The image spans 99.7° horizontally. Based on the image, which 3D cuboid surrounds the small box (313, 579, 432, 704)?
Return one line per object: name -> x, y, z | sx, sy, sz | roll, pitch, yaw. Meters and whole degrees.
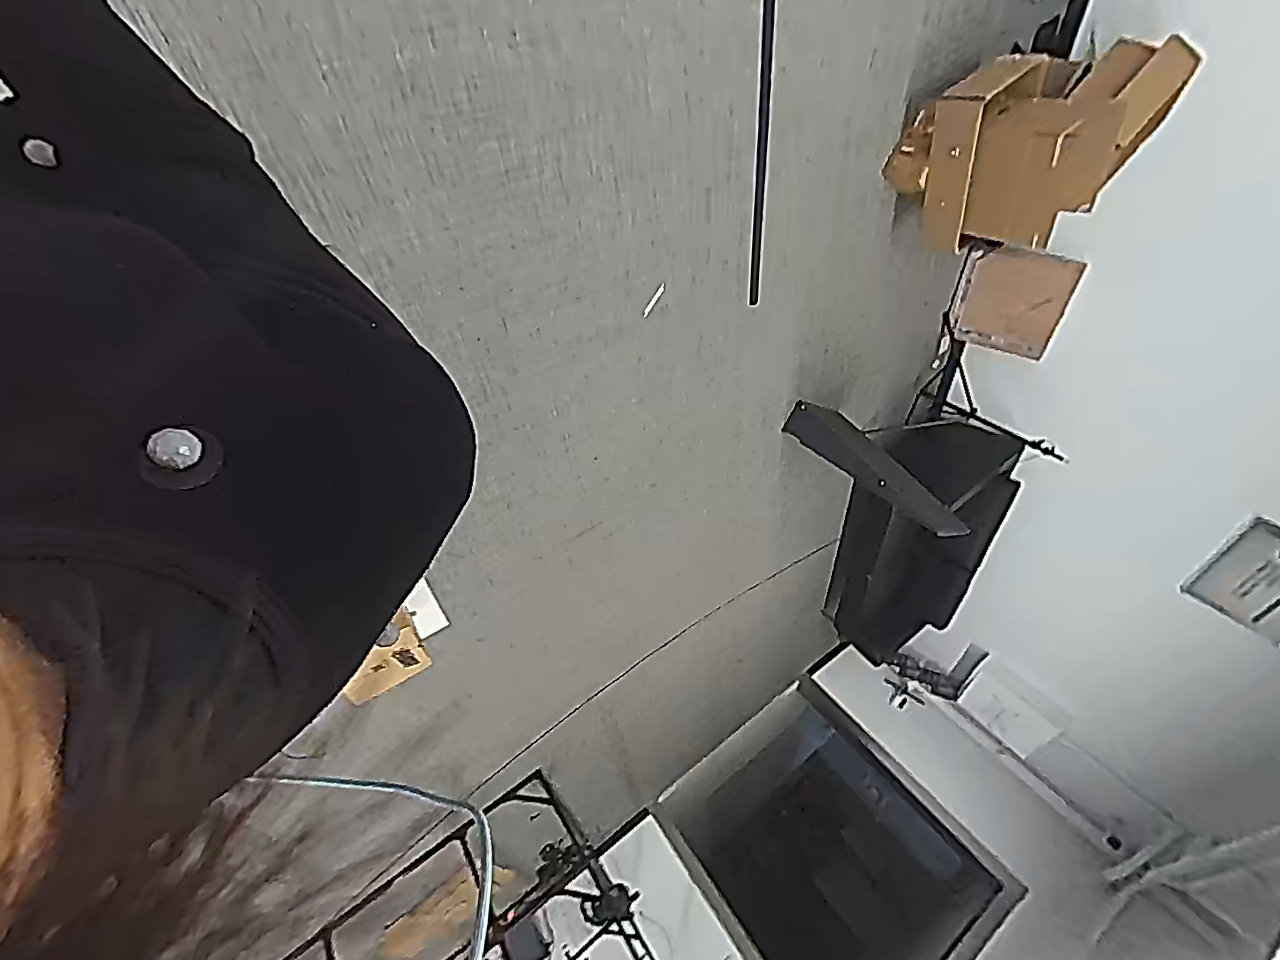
small box -> -0.601, 0.355, 1.215 | 0.179, 0.176, 0.168 | -26, 137, -23
